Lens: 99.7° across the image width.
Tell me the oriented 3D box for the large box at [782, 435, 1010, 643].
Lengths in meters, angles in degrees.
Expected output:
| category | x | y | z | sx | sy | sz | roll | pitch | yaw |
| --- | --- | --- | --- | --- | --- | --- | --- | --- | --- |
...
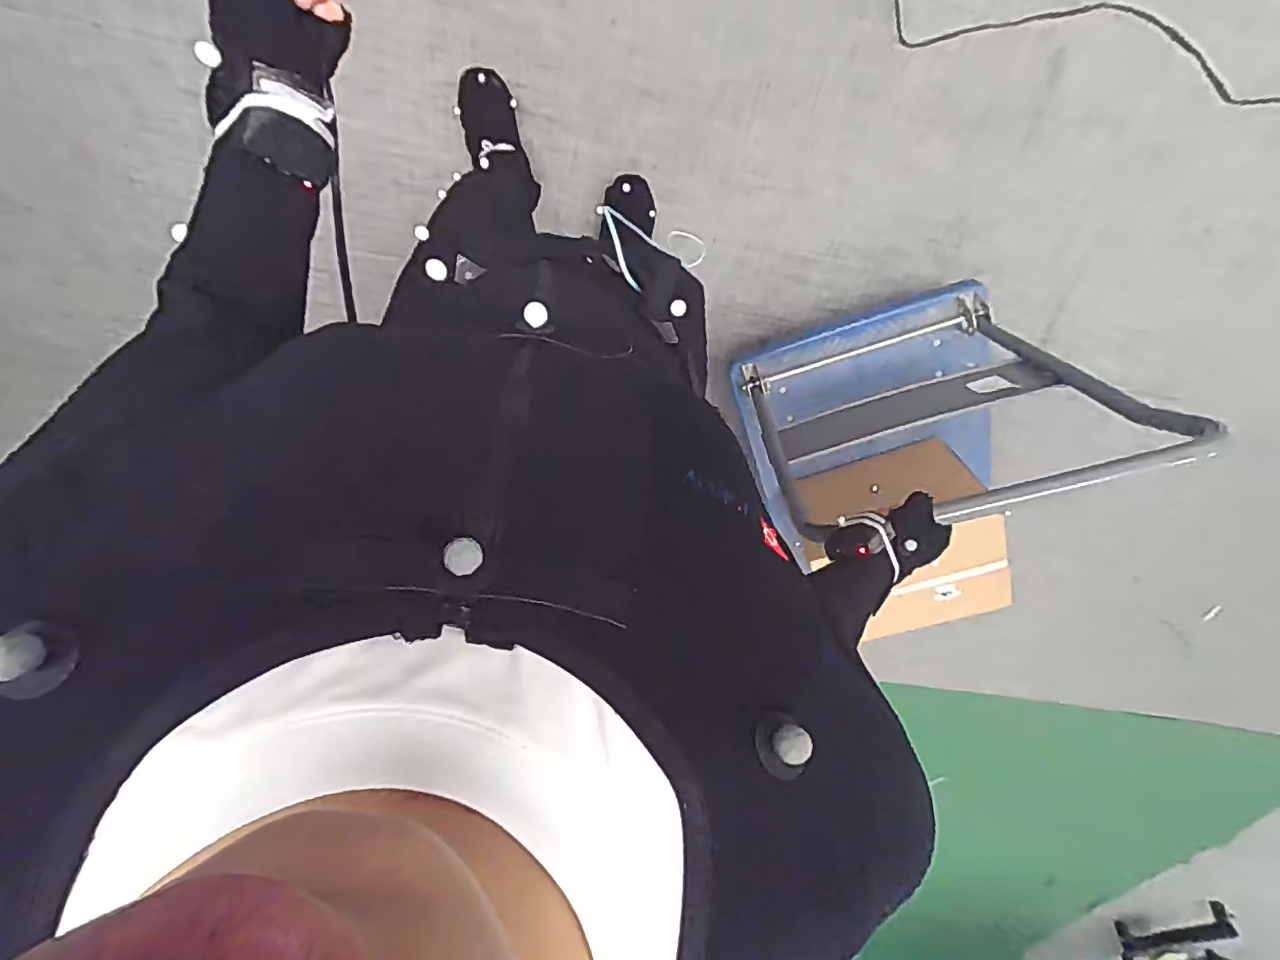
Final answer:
| category | x | y | z | sx | sy | sz | roll | pitch | yaw |
| --- | --- | --- | --- | --- | --- | --- | --- | --- | --- |
| large box | 0.619 | 0.143 | 1.353 | 0.408 | 0.320 | 0.320 | -20 | 122 | 13 |
